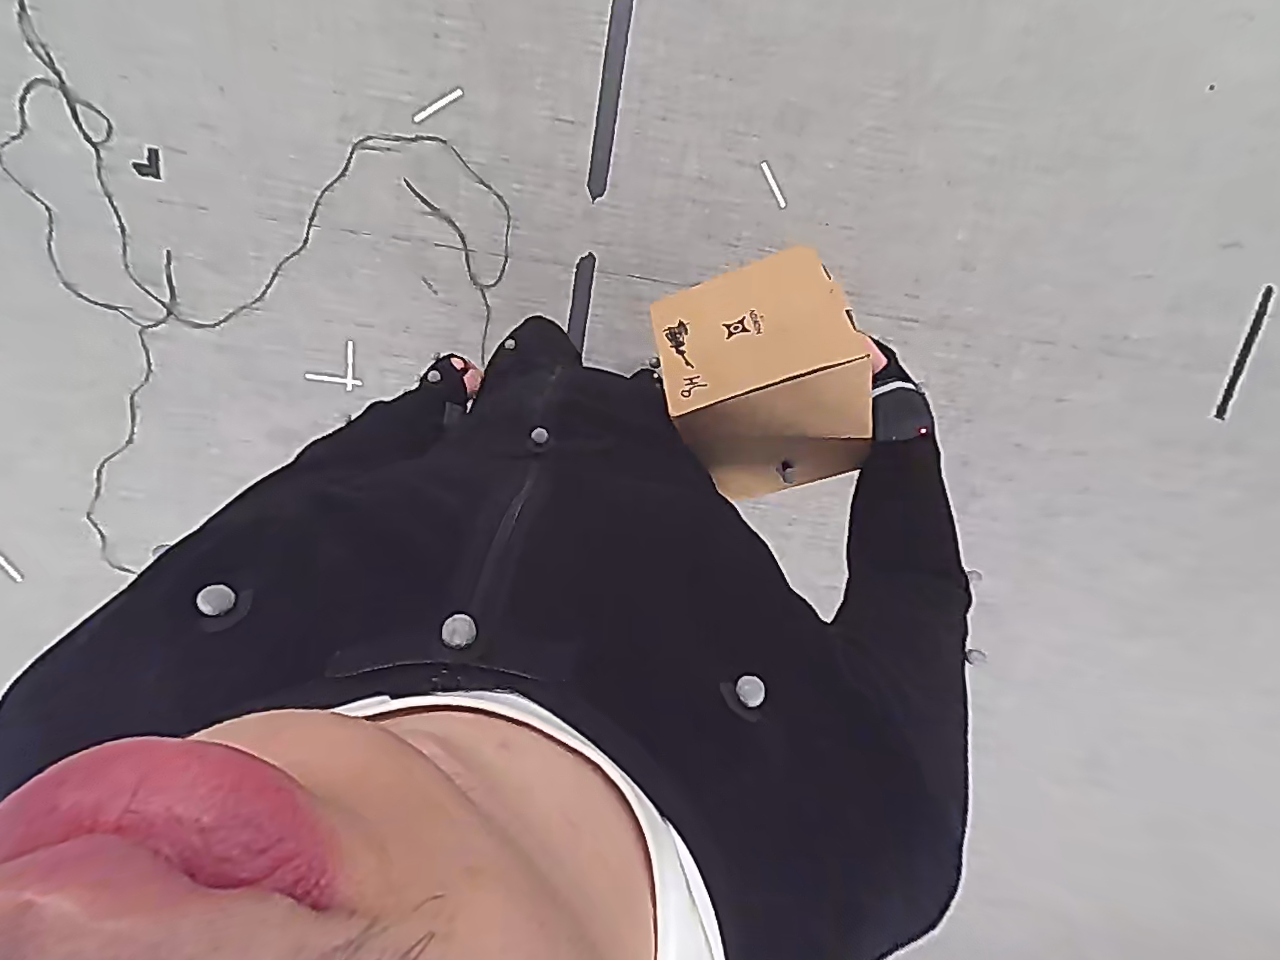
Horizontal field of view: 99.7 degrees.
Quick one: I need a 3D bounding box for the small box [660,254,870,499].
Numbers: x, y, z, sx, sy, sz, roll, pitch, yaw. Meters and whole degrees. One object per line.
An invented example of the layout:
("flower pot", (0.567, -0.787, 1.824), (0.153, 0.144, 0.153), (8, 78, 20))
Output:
("small box", (0.135, -0.103, 0.589), (0.179, 0.168, 0.176), (-16, 142, 12))
